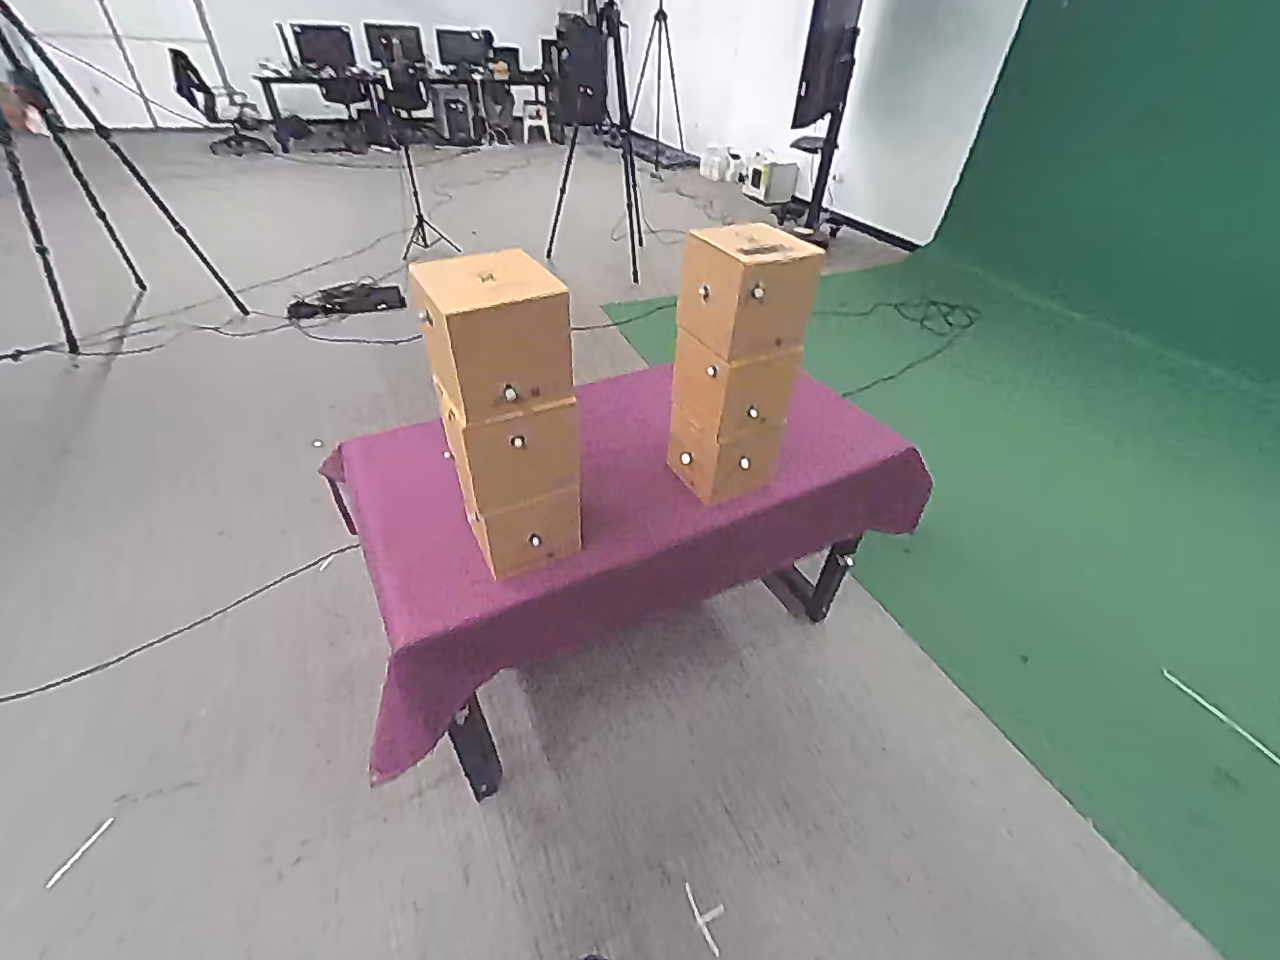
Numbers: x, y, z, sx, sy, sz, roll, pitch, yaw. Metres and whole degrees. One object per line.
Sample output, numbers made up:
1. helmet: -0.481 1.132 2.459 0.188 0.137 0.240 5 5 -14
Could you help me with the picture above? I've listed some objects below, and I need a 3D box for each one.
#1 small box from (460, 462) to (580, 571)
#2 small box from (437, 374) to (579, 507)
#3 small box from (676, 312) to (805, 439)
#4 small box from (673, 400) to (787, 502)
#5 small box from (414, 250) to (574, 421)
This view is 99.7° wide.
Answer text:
1. small box: -0.214 0.043 0.985 0.168 0.176 0.179 -17 45 -23
2. small box: -0.207 -0.081 0.876 0.179 0.176 0.168 -18 45 -24
3. small box: 0.184 -0.205 1.049 0.168 0.176 0.179 -17 45 -23
4. small box: 0.183 -0.078 1.152 0.179 0.176 0.168 -19 46 -23
5. small box: -0.205 -0.210 0.776 0.168 0.176 0.179 -20 47 -24
